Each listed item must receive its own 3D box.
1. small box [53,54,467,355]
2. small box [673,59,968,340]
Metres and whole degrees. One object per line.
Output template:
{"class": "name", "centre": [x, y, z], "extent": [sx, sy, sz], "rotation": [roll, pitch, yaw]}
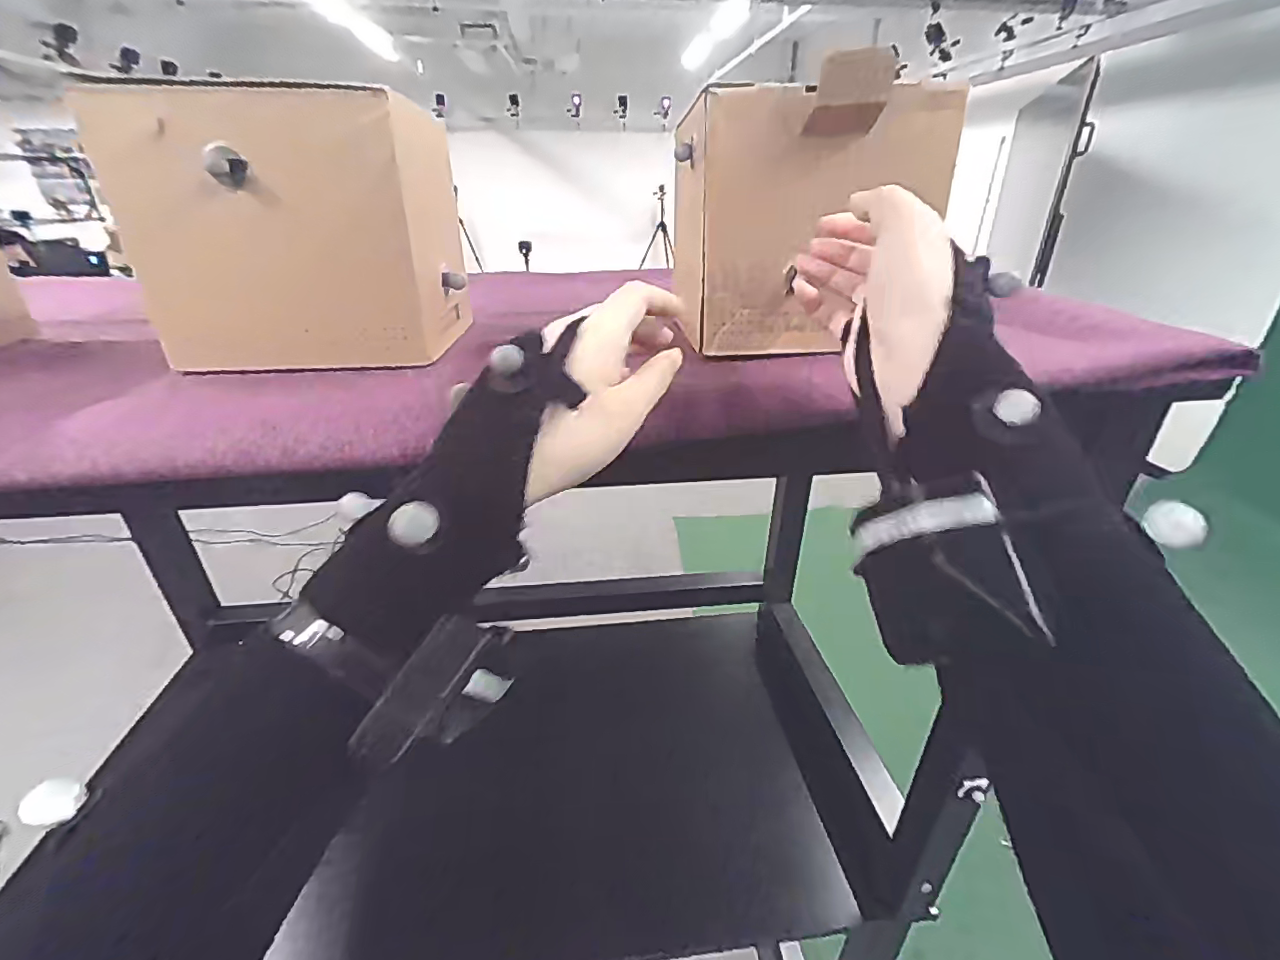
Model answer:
{"class": "small box", "centre": [-0.243, -0.193, 0.407], "extent": [0.179, 0.176, 0.168], "rotation": [-2, 27, -5]}
{"class": "small box", "centre": [0.115, -0.212, 0.433], "extent": [0.168, 0.176, 0.179], "rotation": [-3, 26, -2]}
